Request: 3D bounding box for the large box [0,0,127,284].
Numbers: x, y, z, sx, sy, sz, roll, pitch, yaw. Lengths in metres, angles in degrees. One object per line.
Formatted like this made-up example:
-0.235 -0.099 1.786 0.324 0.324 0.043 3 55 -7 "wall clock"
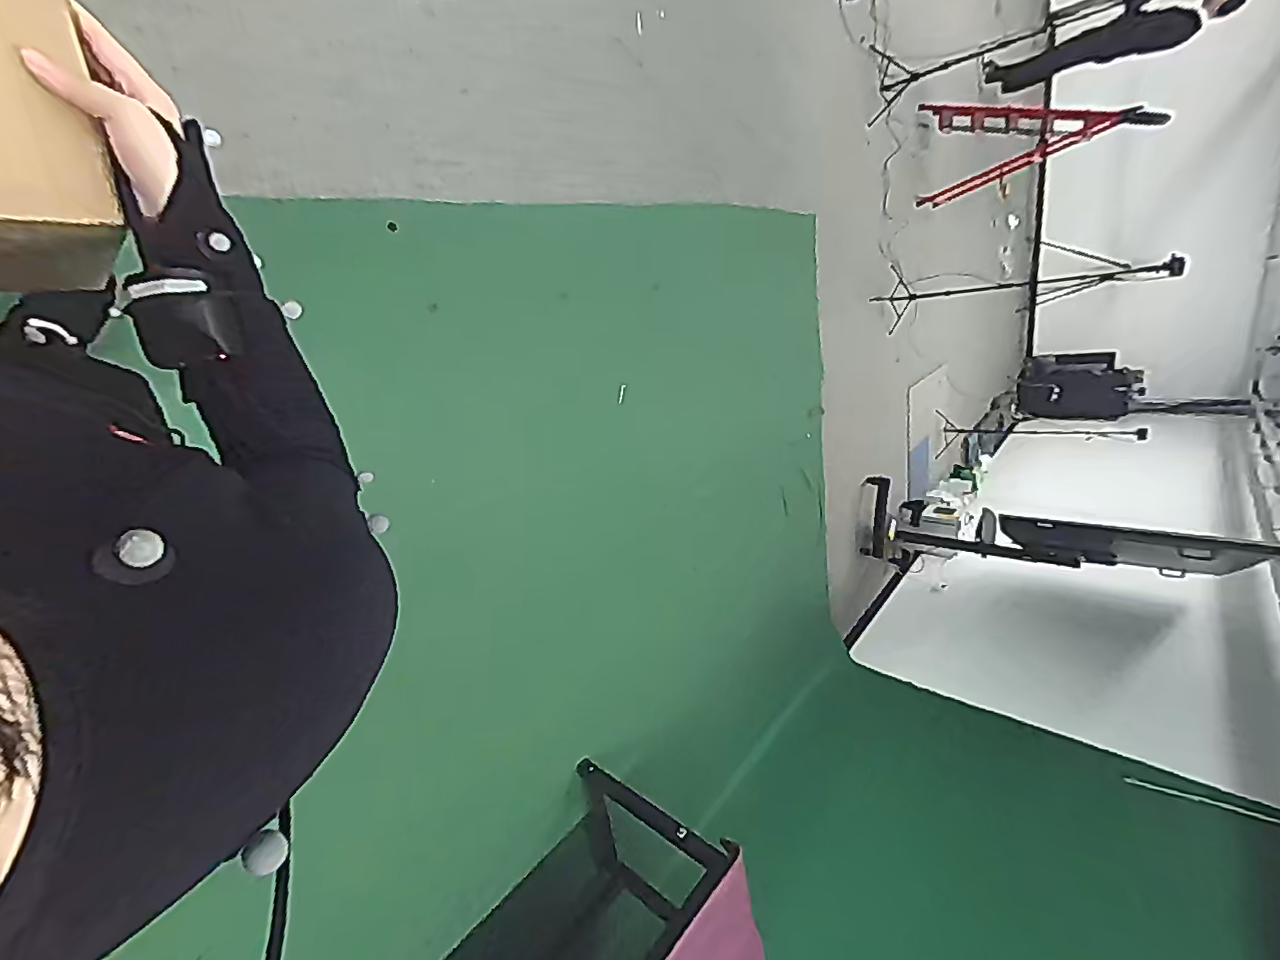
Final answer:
-0.632 -0.292 0.313 0.408 0.320 0.320 -23 112 -45 "large box"
